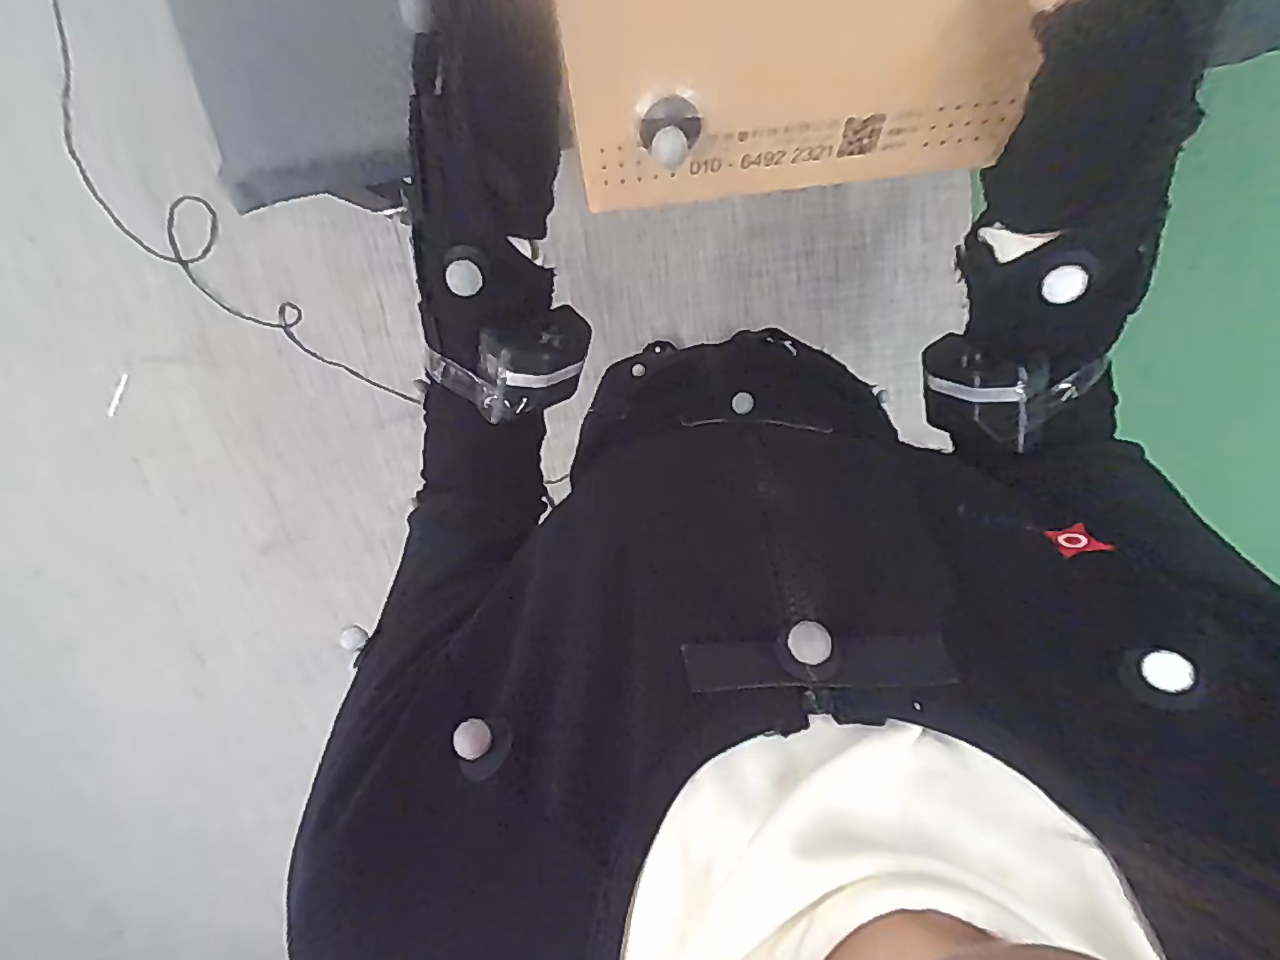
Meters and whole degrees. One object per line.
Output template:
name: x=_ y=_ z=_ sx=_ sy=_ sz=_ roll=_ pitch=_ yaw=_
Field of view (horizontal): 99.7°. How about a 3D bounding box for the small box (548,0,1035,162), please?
small box: x=0.044 y=-0.235 z=0.182 sx=0.168 sy=0.176 sz=0.179 roll=-7 pitch=64 yaw=-1
